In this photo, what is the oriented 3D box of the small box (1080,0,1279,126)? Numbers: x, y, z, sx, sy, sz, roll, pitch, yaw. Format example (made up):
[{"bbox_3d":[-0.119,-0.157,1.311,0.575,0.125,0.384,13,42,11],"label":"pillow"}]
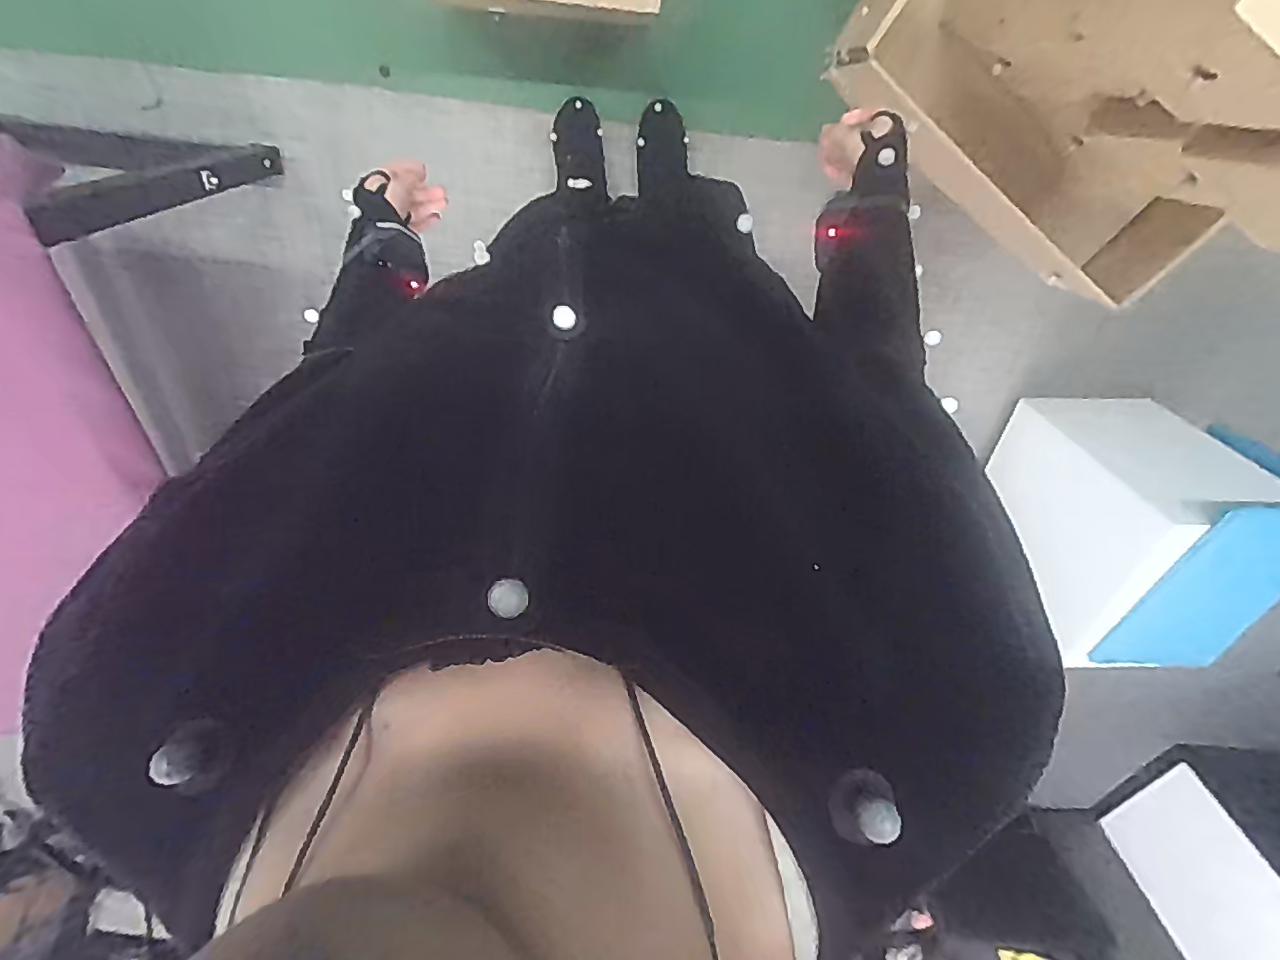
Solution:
[{"bbox_3d":[0.525,-0.413,0.432,0.179,0.176,0.168,21,122,-16],"label":"small box"}]
